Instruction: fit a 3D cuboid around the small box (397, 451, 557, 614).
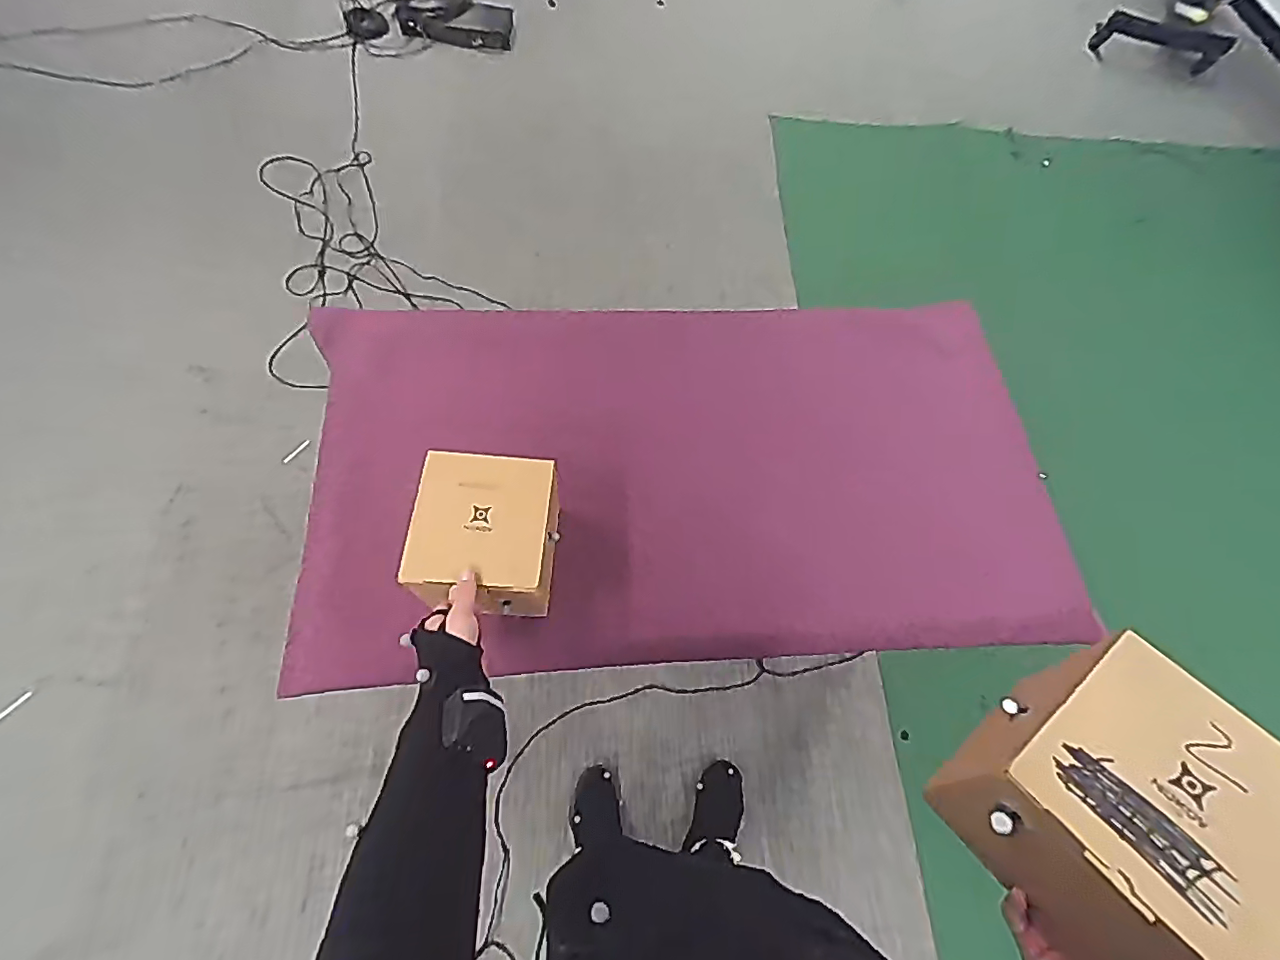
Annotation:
[{"bbox_3d":[-0.207,0.081,0.745,0.168,0.176,0.179,5,64,-4],"label":"small box"}]
